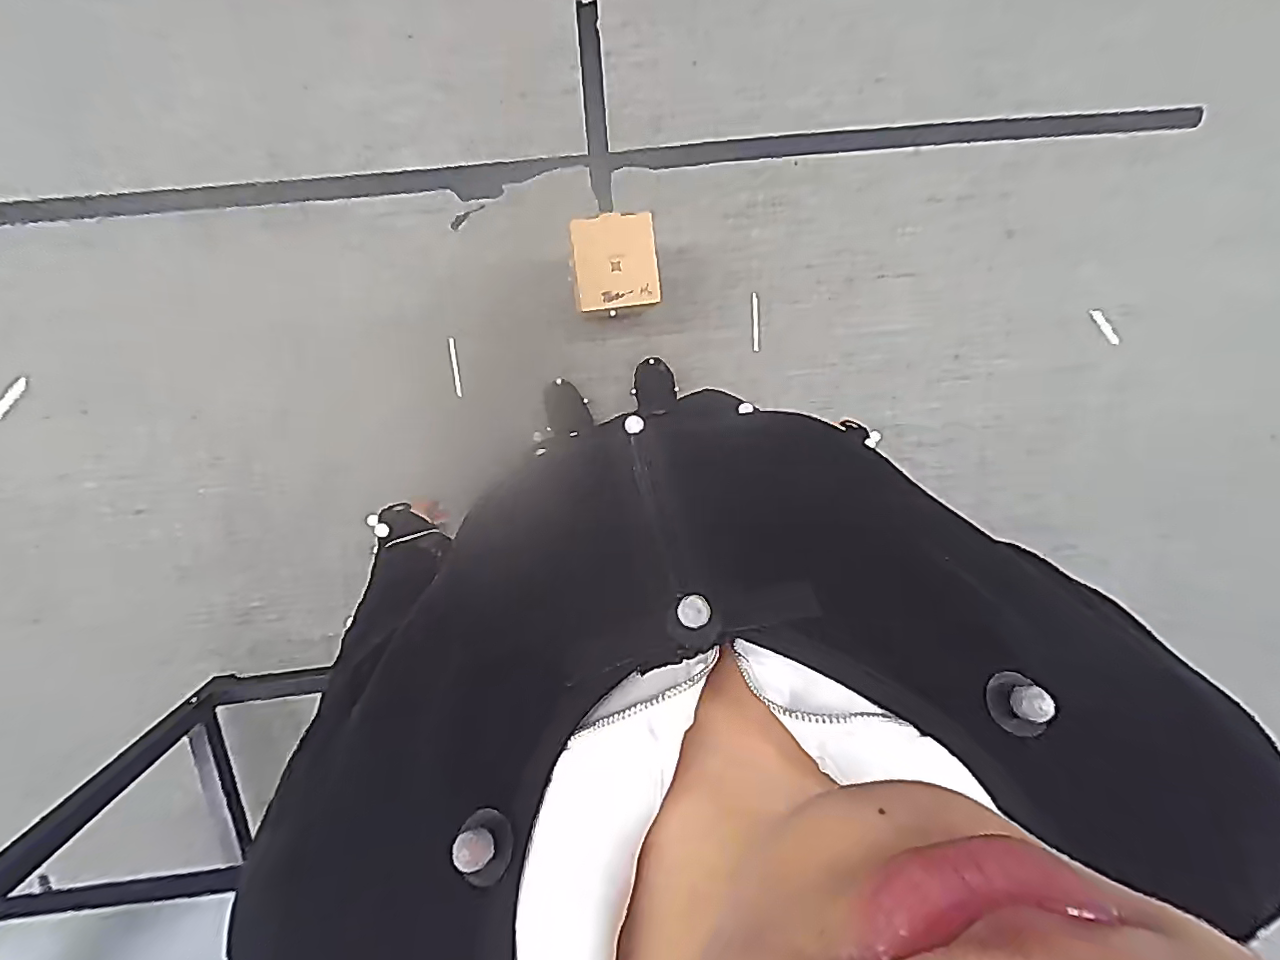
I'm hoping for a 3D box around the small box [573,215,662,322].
[{"bbox_3d":[-0.051,-0.446,1.161,0.168,0.176,0.179,-8,101,-3],"label":"small box"}]
